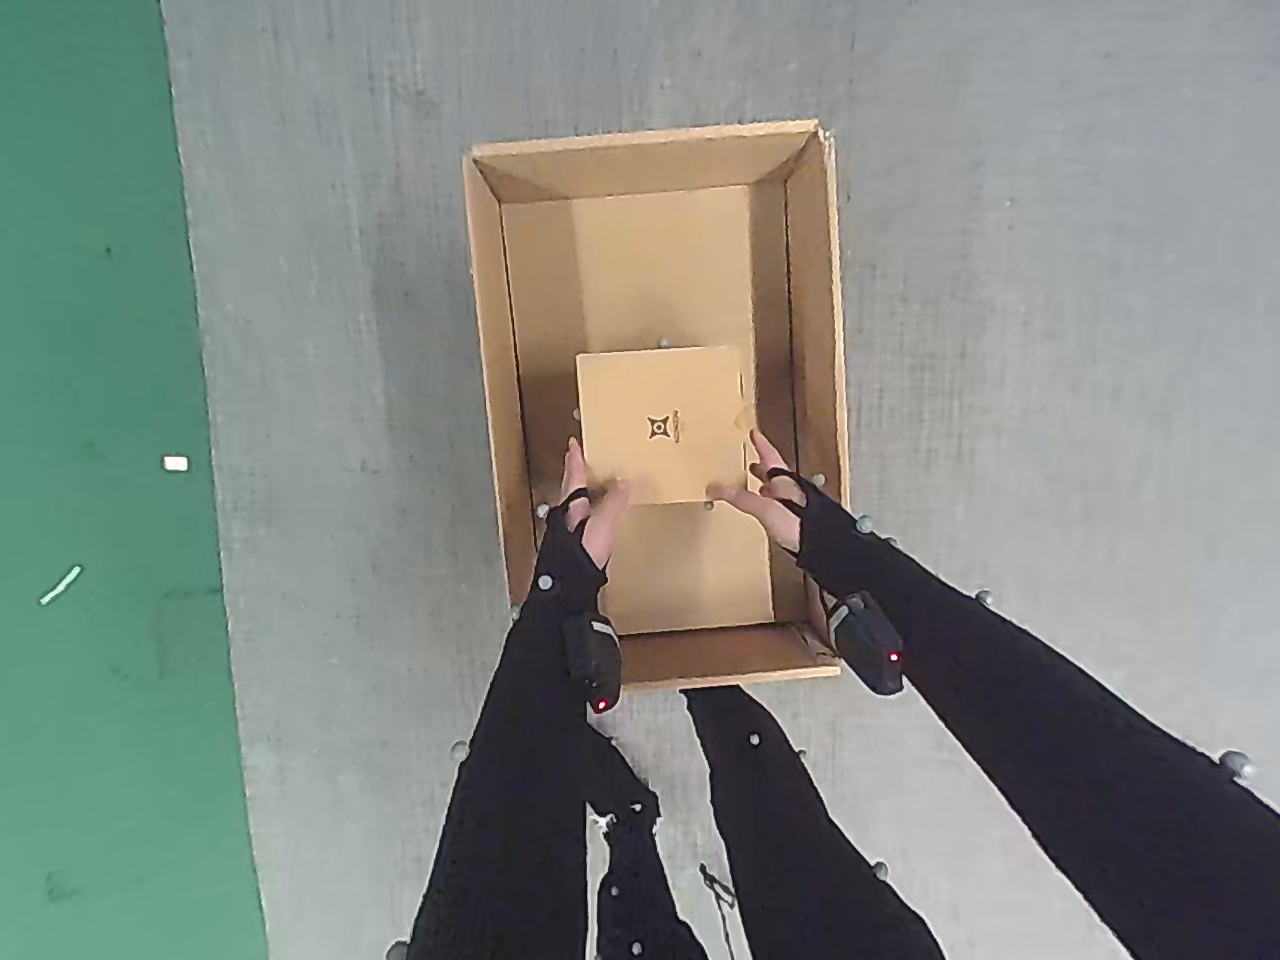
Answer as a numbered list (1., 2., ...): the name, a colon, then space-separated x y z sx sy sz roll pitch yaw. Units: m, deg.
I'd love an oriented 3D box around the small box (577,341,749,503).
1. small box: 0.024 -0.066 0.647 0.179 0.176 0.168 -4 96 -2
